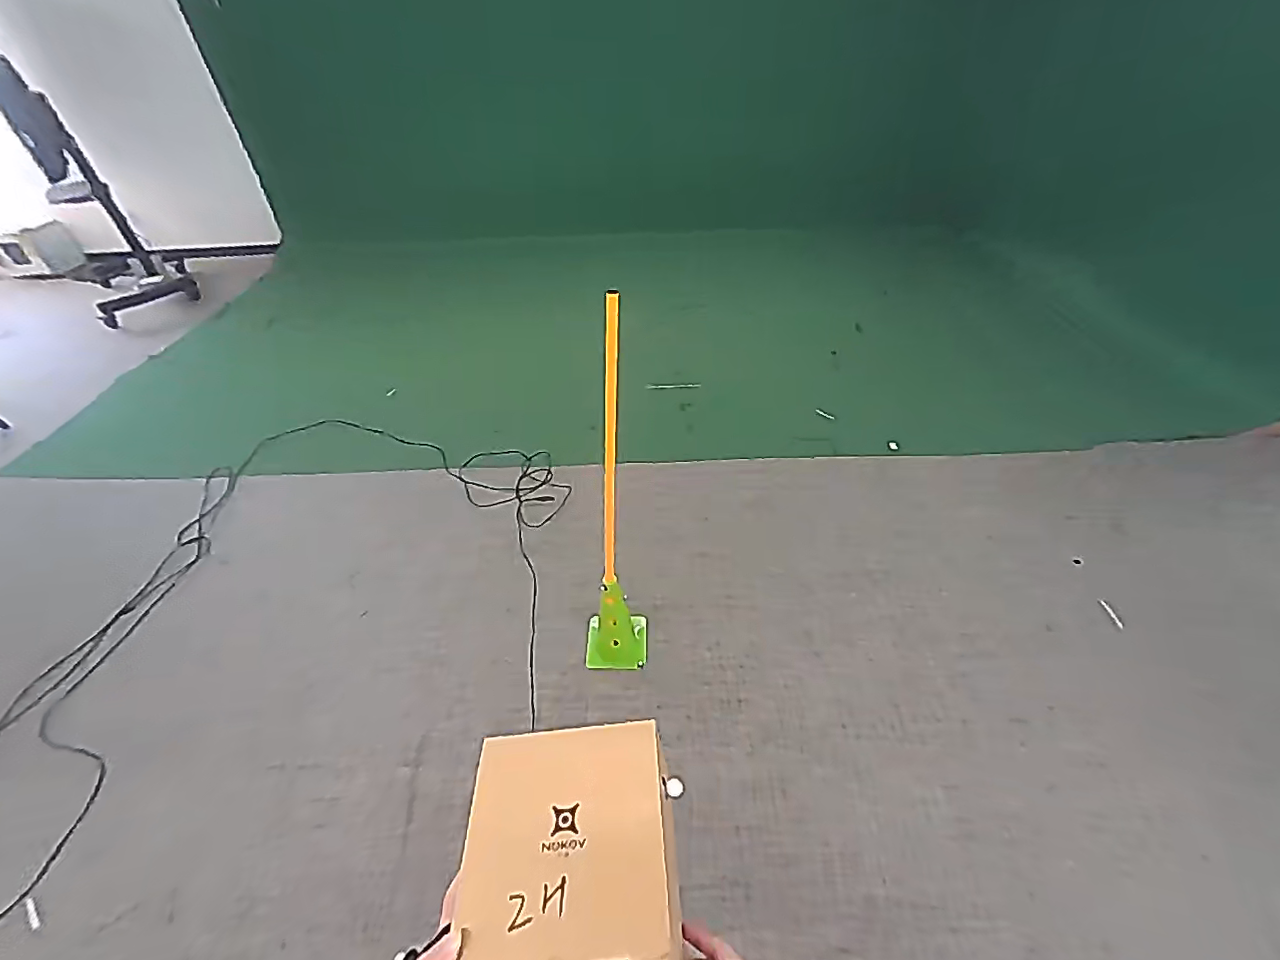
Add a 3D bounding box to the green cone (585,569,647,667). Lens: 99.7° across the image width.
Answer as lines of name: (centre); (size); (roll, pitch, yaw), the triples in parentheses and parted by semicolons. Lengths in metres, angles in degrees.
green cone: (-0.088, 0.408, 1.711); (0.202, 0.368, 0.200); (-2, 41, 3)
